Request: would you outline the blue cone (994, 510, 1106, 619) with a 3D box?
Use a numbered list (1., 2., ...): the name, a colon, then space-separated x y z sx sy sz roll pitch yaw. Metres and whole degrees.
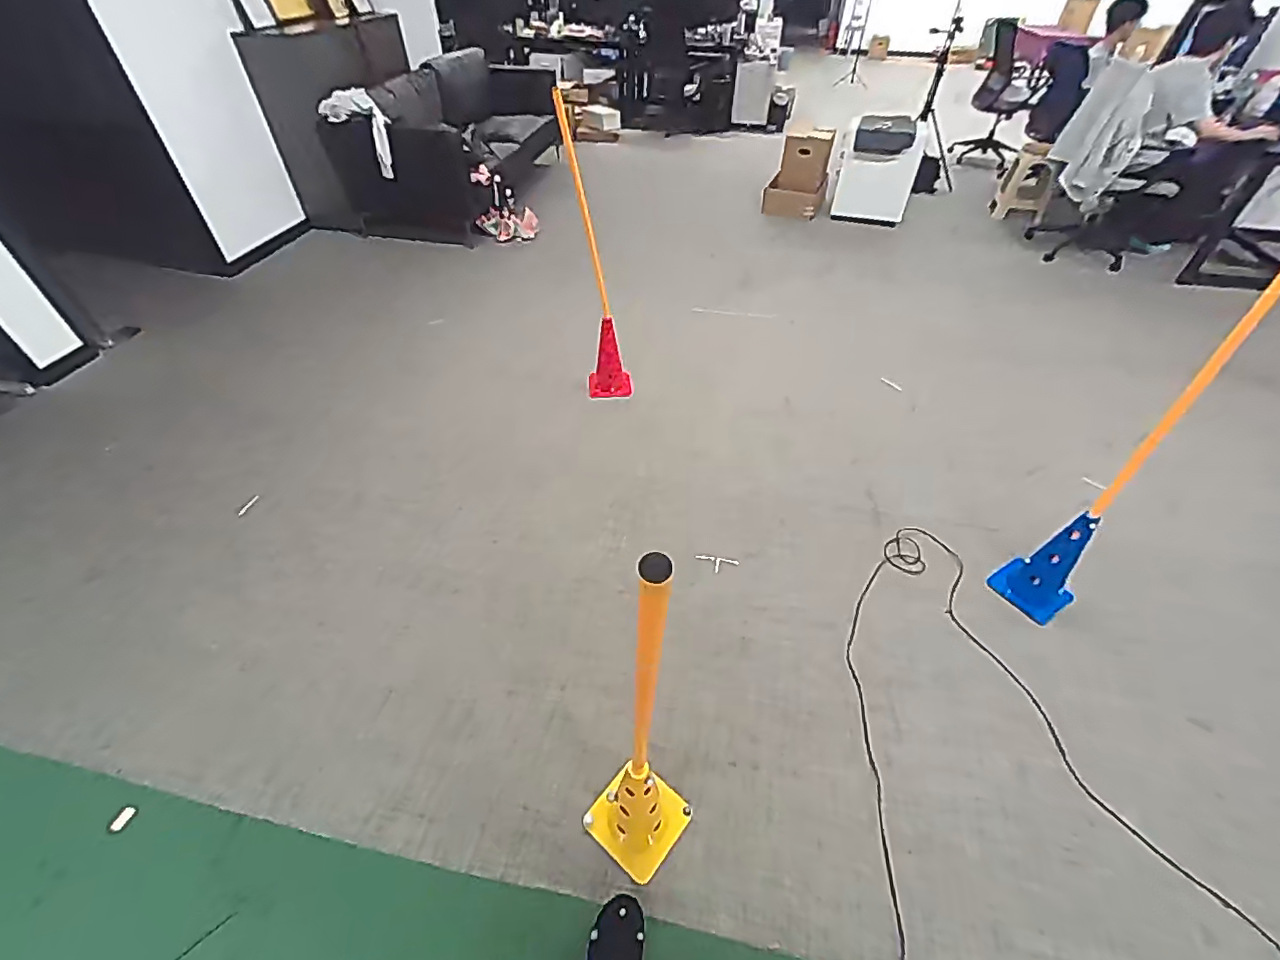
1. blue cone: 1.281 0.229 1.652 0.193 0.380 0.192 -24 49 -26
